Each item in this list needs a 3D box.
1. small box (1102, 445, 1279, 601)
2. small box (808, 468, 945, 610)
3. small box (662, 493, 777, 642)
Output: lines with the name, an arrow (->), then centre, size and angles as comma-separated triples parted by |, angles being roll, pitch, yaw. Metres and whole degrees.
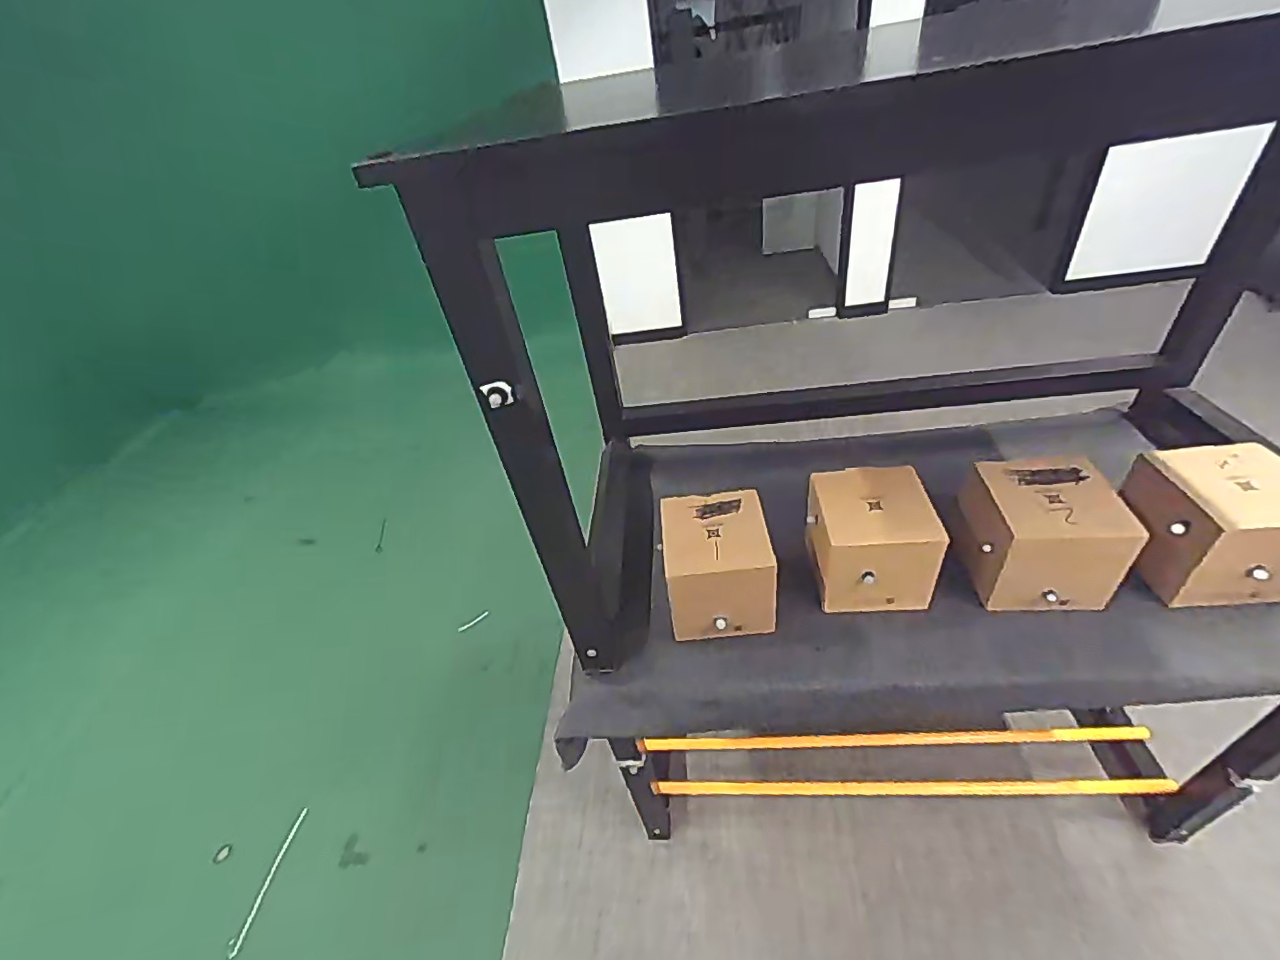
small box -> 0.865, 0.070, 0.820 | 0.168, 0.176, 0.179 | -5, 38, 7
small box -> 0.380, 0.104, 0.903 | 0.168, 0.176, 0.179 | -4, 39, 8
small box -> 0.129, 0.147, 0.908 | 0.168, 0.176, 0.179 | -7, 40, 5
